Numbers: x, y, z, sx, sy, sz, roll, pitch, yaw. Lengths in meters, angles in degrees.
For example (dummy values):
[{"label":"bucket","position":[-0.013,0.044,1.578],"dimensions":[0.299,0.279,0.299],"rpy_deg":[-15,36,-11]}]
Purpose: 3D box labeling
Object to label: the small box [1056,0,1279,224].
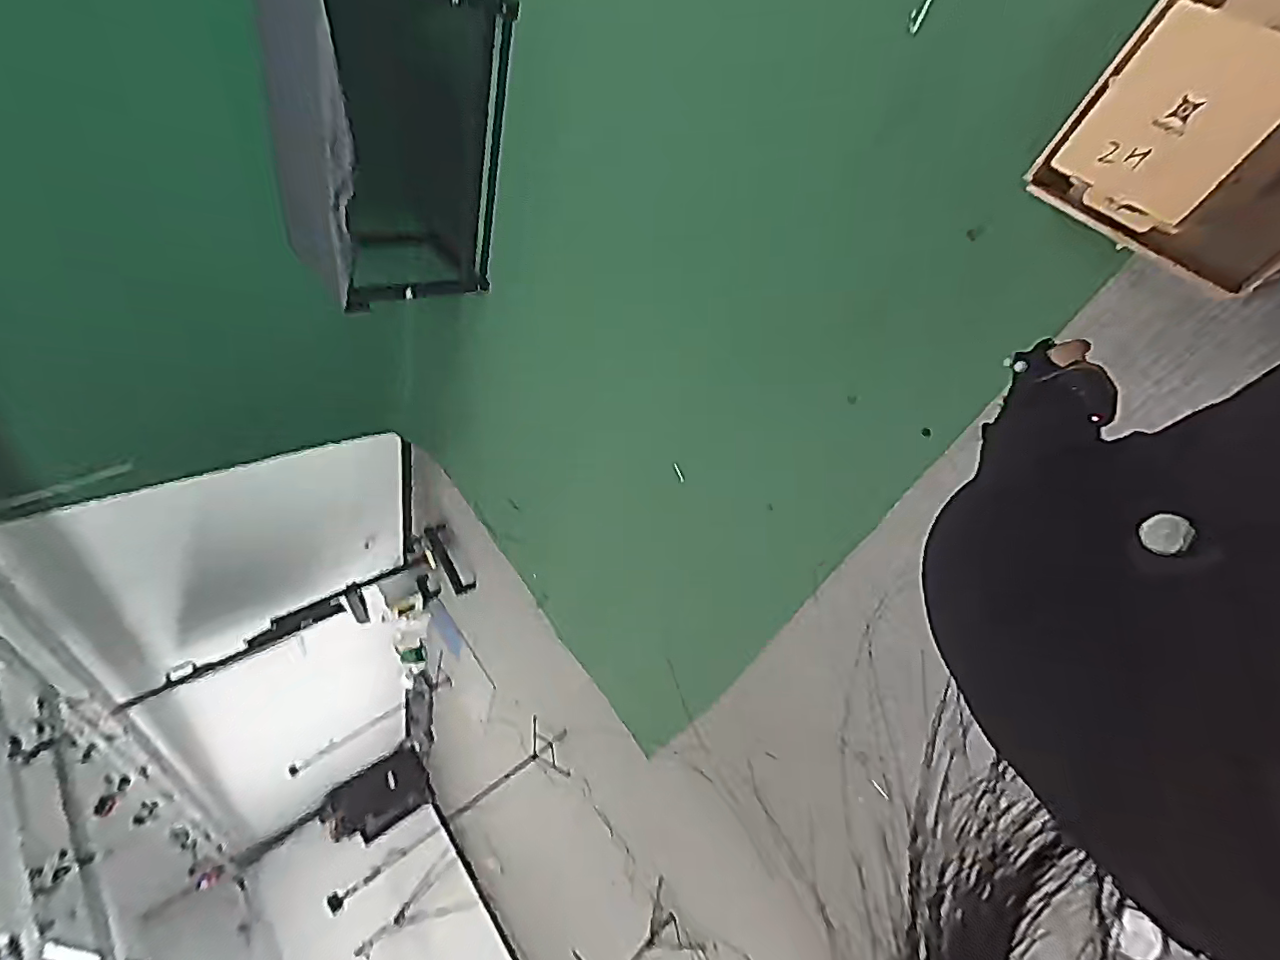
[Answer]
[{"label":"small box","position":[0.669,-0.439,0.663],"dimensions":[0.168,0.176,0.179],"rpy_deg":[48,137,23]}]
